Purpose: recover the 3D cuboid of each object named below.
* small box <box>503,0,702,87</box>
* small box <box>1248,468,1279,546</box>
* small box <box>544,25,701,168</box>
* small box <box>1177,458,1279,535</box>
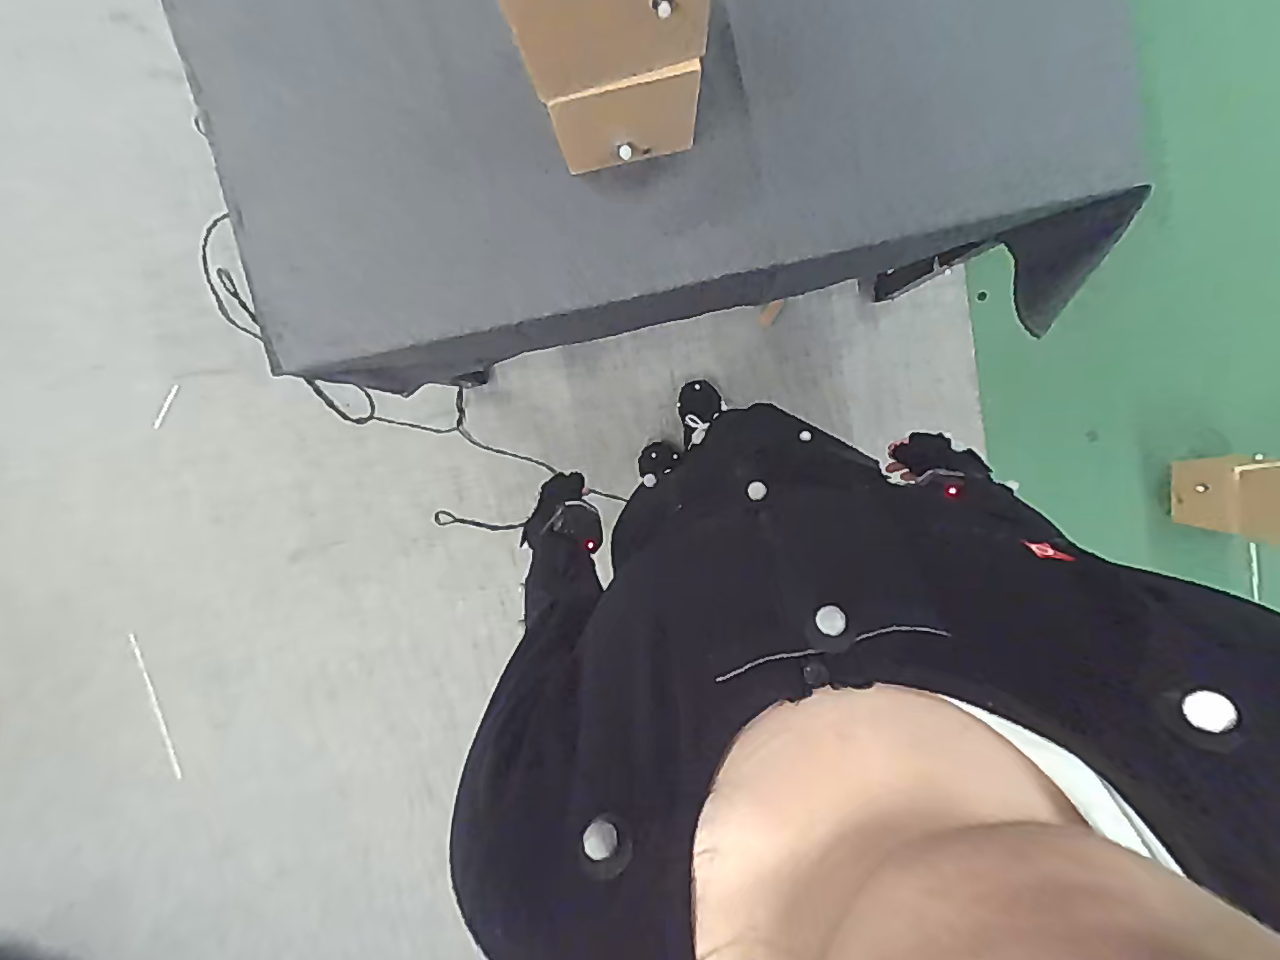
[{"bbox_3d":[-0.041,-0.485,0.461,0.179,0.176,0.168,-13,94,4],"label":"small box"},{"bbox_3d":[1.504,0.061,1.185,0.168,0.176,0.179,-7,96,3],"label":"small box"},{"bbox_3d":[-0.029,-0.500,0.623,0.168,0.176,0.179,-10,96,4],"label":"small box"},{"bbox_3d":[1.500,0.037,1.348,0.179,0.176,0.168,-6,96,3],"label":"small box"}]
